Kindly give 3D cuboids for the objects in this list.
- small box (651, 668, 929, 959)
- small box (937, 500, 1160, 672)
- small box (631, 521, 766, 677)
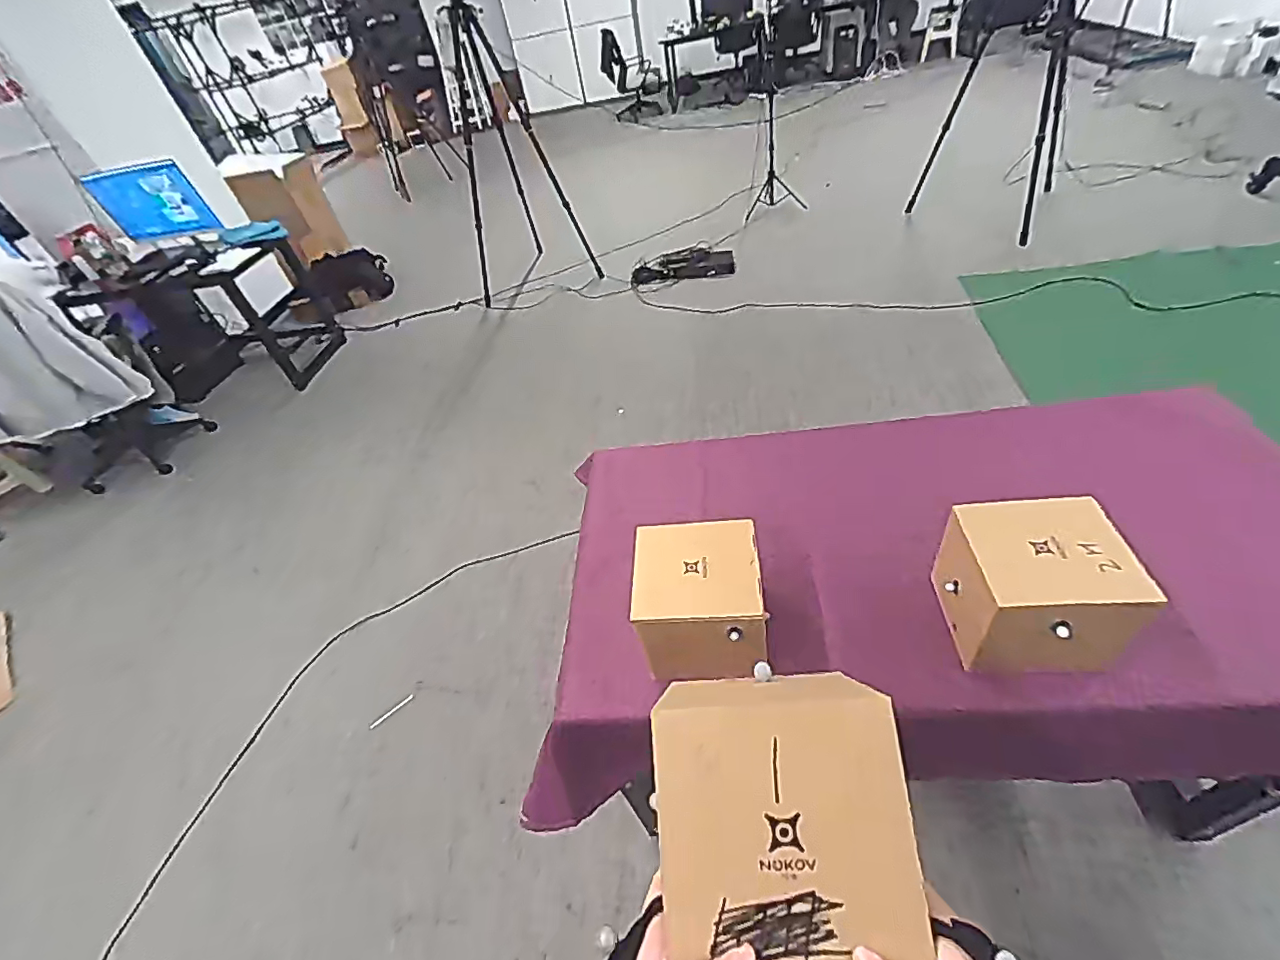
[{"bbox_3d":[0.105,0.254,0.433,0.168,0.176,0.179,-6,75,7],"label":"small box"},{"bbox_3d":[0.523,0.146,0.732,0.179,0.176,0.168,-4,45,10],"label":"small box"},{"bbox_3d":[0.091,0.181,0.807,0.179,0.176,0.168,-4,44,8],"label":"small box"}]
